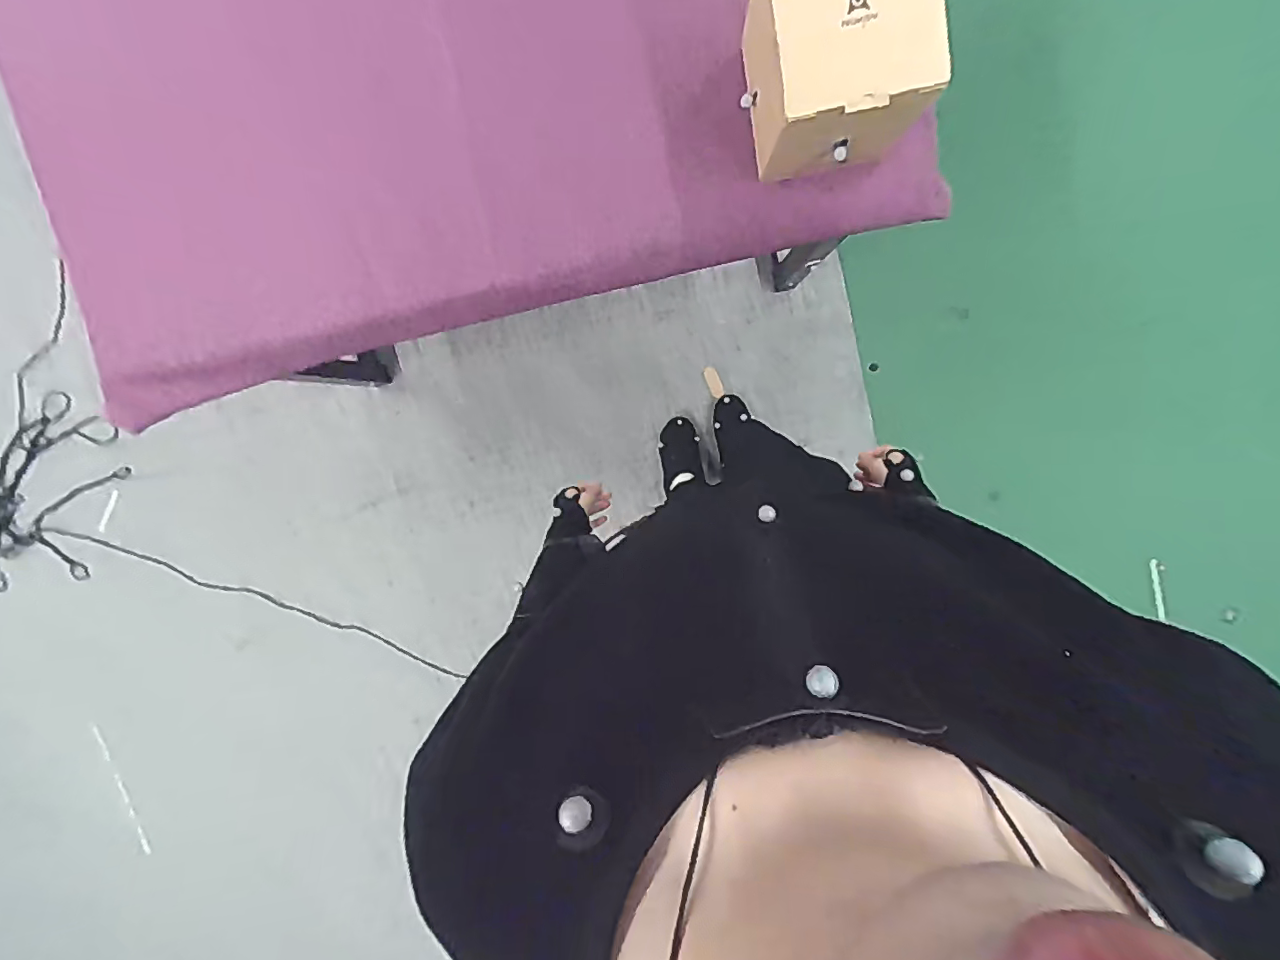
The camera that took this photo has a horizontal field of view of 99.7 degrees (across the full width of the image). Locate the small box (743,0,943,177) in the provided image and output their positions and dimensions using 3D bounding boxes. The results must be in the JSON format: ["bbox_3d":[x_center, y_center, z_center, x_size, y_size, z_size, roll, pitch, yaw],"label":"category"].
[{"bbox_3d":[0.217,-0.470,0.615,0.168,0.176,0.179,-9,98,5],"label":"small box"}]
